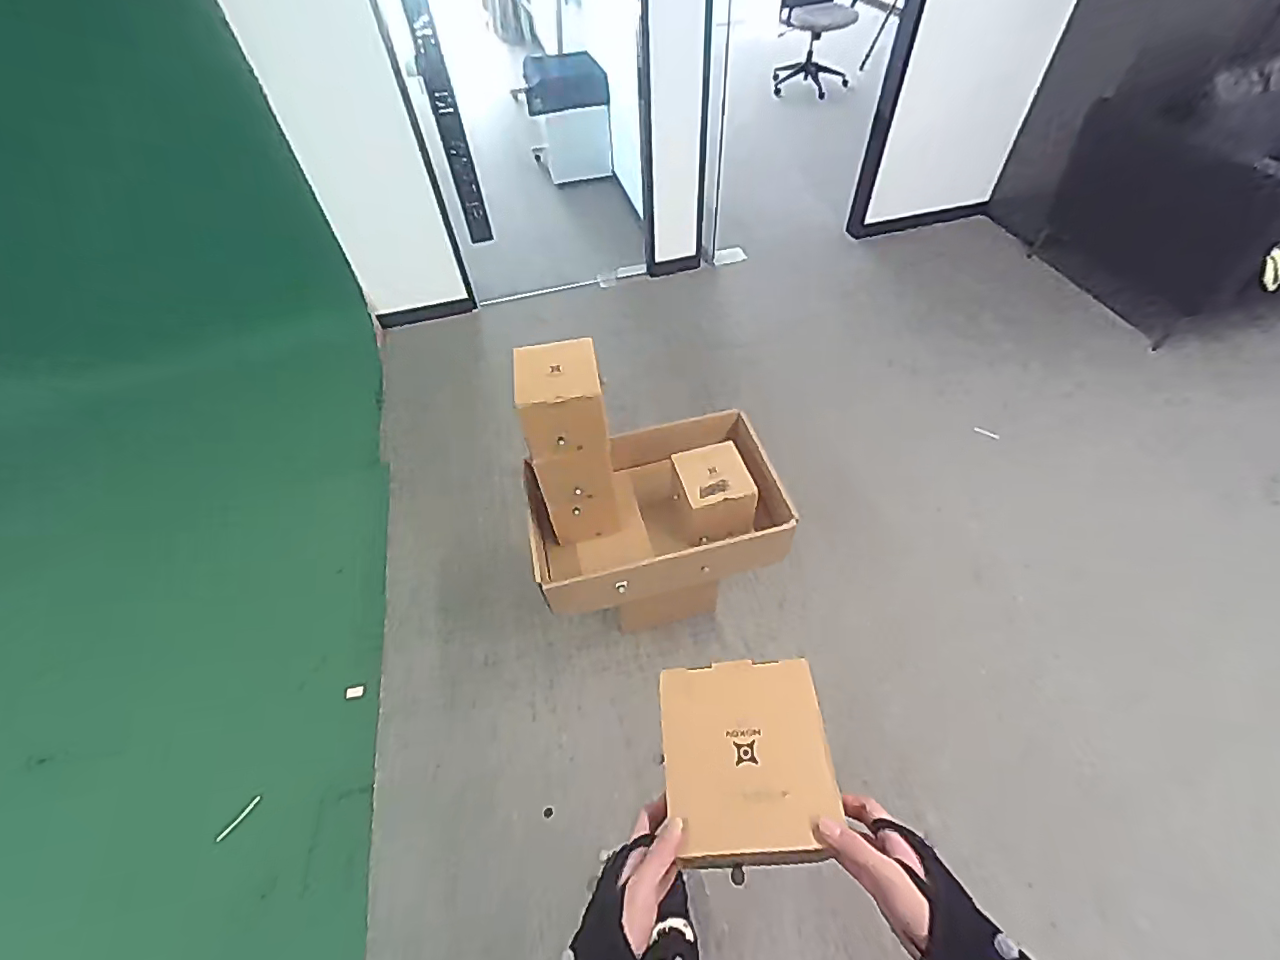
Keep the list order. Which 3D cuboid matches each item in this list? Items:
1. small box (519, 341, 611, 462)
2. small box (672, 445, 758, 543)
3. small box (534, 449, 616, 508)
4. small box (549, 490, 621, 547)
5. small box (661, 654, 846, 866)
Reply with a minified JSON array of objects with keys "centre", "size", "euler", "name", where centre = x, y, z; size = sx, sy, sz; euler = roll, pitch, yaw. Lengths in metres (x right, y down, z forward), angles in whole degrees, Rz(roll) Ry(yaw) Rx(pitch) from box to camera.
[{"centre":[-0.155,-0.163,1.131],"size":[0.168,0.176,0.179],"euler":[-9,52,-3],"name":"small box"},{"centre":[0.184,0.042,1.364],"size":[0.168,0.176,0.179],"euler":[-13,51,-7],"name":"small box"},{"centre":[-0.152,-0.060,1.257],"size":[0.168,0.176,0.179],"euler":[-10,52,-4],"name":"small box"},{"centre":[-0.146,0.044,1.385],"size":[0.168,0.176,0.179],"euler":[-11,51,-6],"name":"small box"},{"centre":[0.111,0.315,0.606],"size":[0.168,0.176,0.179],"euler":[-5,50,4],"name":"small box"}]
